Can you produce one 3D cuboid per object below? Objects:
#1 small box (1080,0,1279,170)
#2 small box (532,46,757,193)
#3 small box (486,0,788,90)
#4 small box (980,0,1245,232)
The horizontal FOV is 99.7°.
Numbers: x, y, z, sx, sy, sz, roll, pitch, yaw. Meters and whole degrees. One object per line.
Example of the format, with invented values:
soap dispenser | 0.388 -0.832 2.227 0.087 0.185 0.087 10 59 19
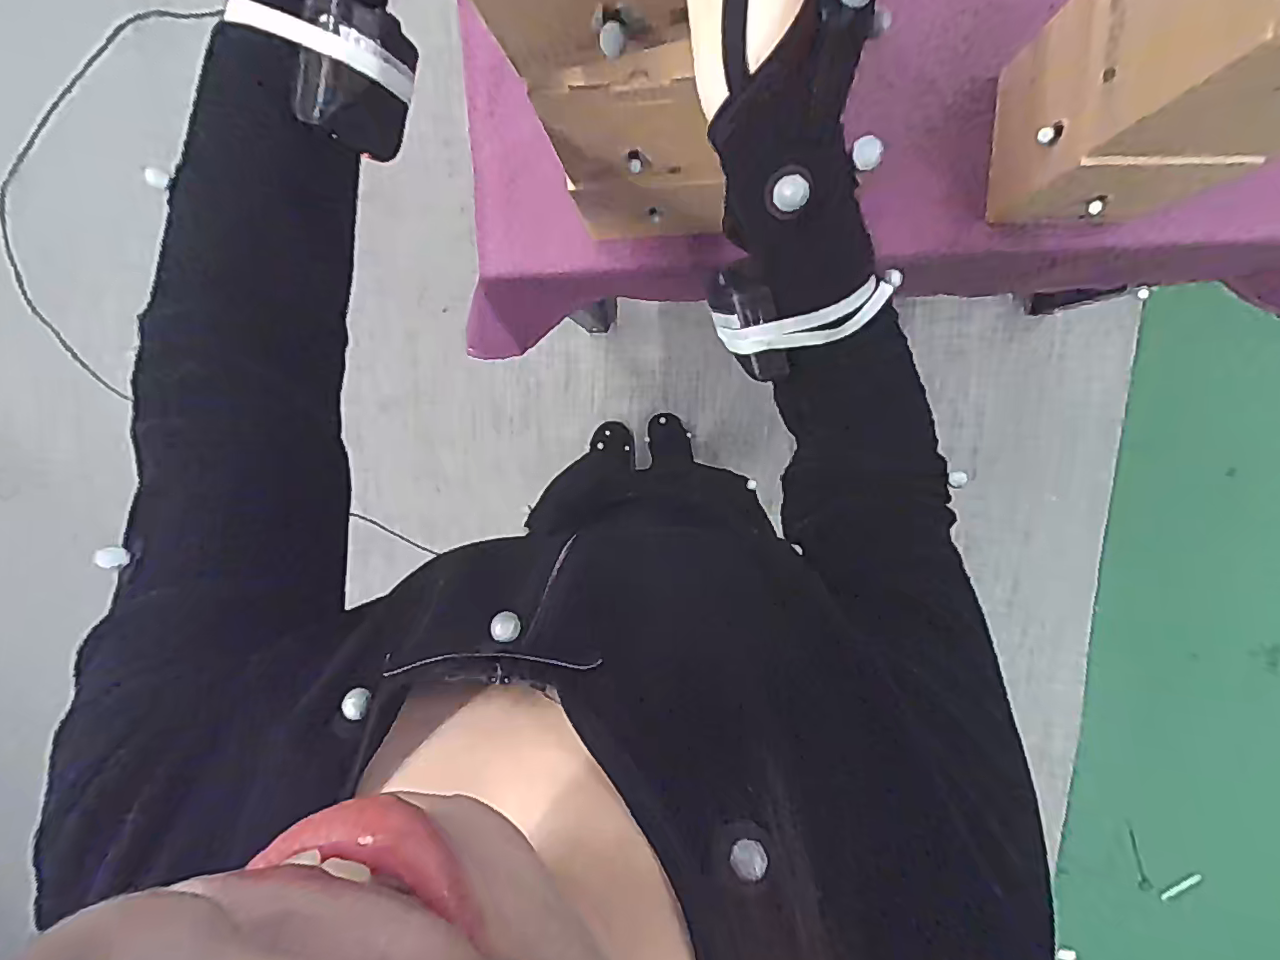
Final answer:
small box | 0.502 -0.366 0.427 0.179 0.176 0.168 3 98 3
small box | 0.006 -0.371 0.460 0.168 0.176 0.179 -1 98 4
small box | -0.013 -0.325 0.243 0.168 0.176 0.179 -7 101 7
small box | 0.505 -0.385 0.591 0.168 0.176 0.179 2 97 3
